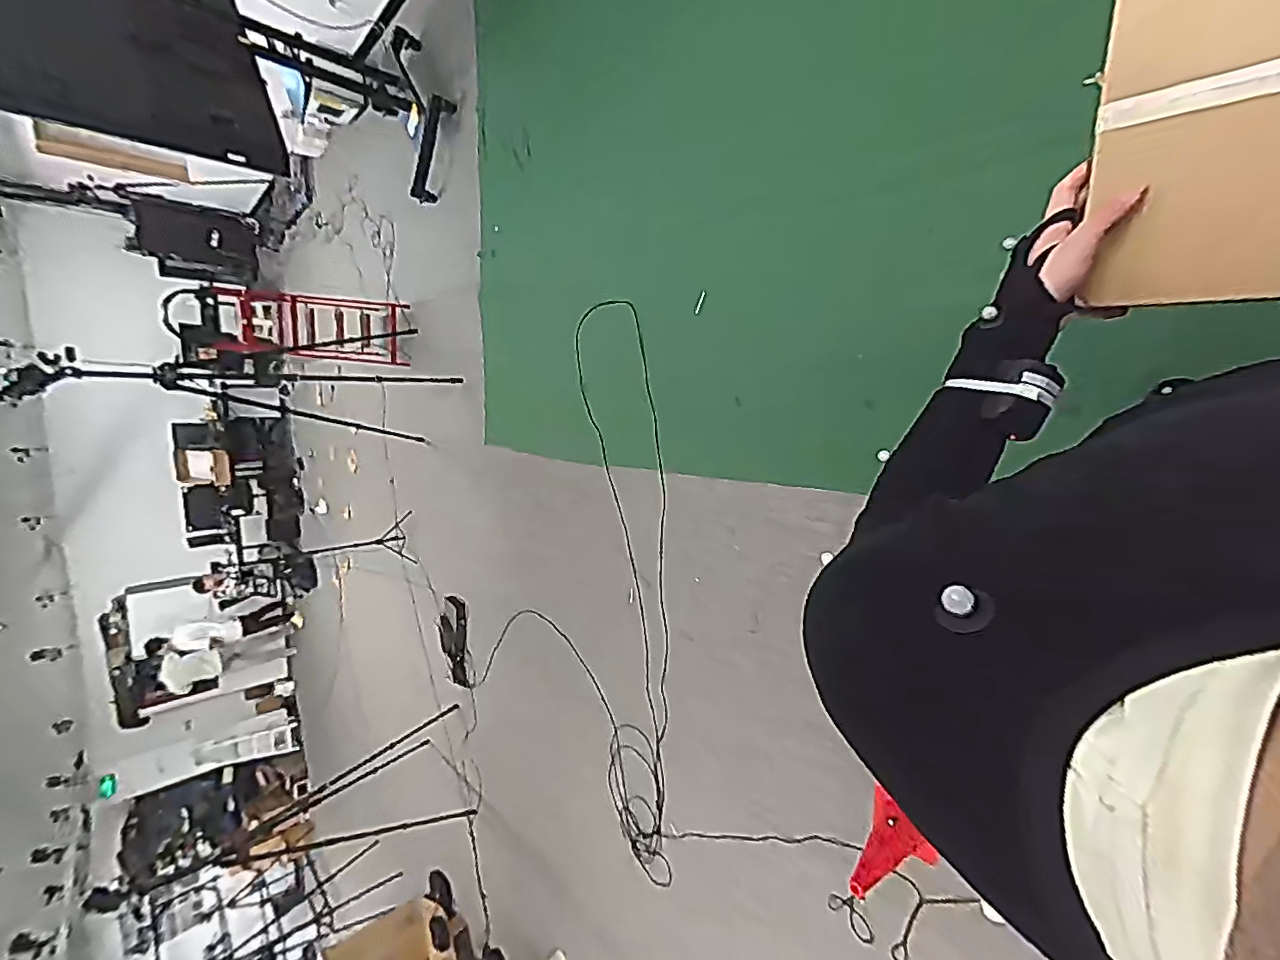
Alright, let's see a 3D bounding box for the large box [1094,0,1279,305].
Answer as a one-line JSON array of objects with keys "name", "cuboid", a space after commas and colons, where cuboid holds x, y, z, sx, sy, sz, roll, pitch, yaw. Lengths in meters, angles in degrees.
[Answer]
[{"name": "large box", "cuboid": [0.652, -0.321, 0.424, 0.408, 0.320, 0.320, 12, 113, 45]}]
